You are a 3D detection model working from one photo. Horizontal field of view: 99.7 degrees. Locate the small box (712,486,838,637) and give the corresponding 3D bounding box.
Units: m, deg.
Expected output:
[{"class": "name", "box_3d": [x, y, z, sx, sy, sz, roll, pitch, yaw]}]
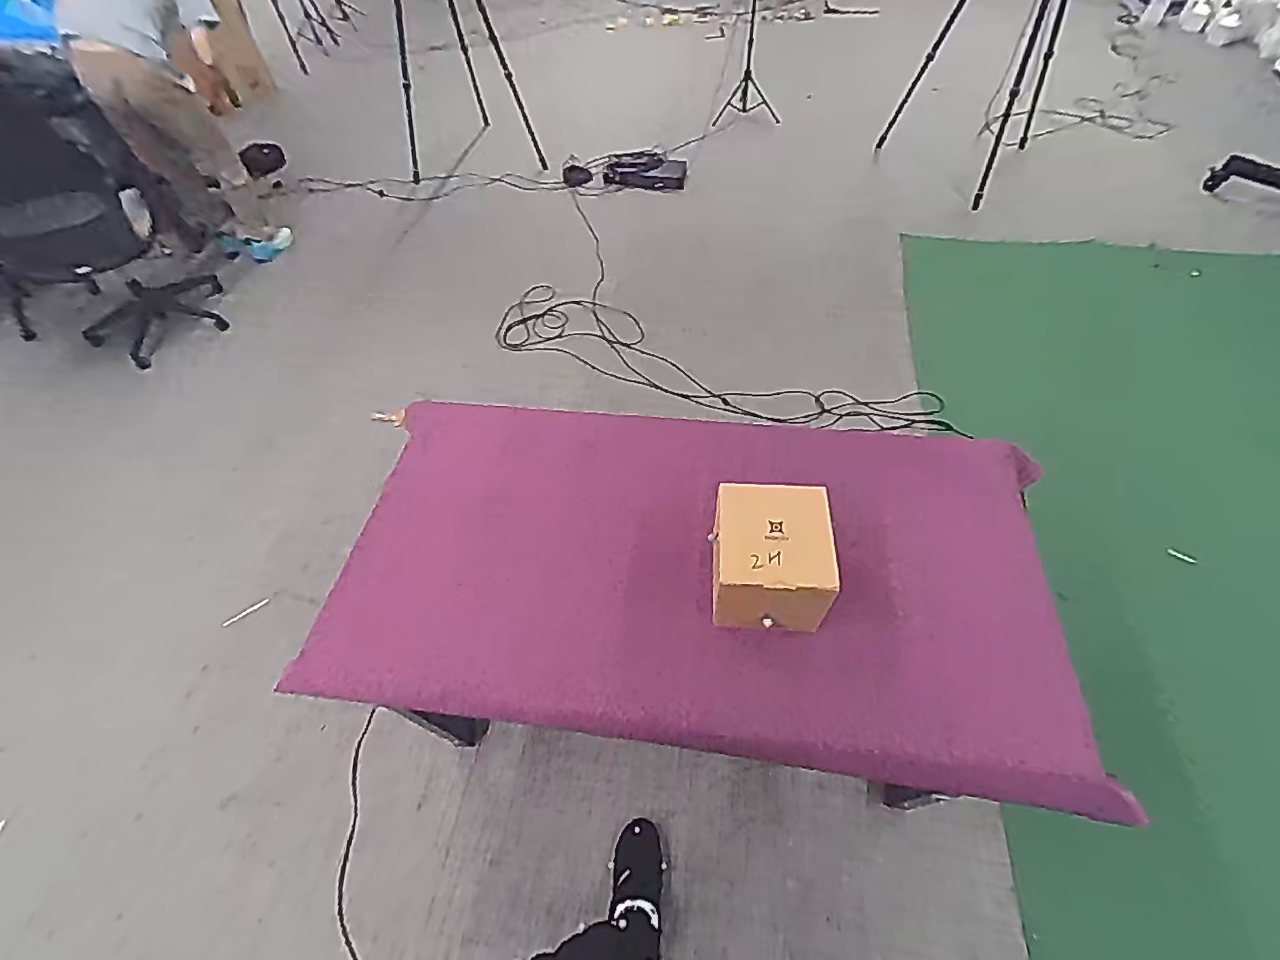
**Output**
[{"class": "small box", "box_3d": [0.202, 0.130, 0.858, 0.168, 0.176, 0.179, 2, 54, 6]}]
